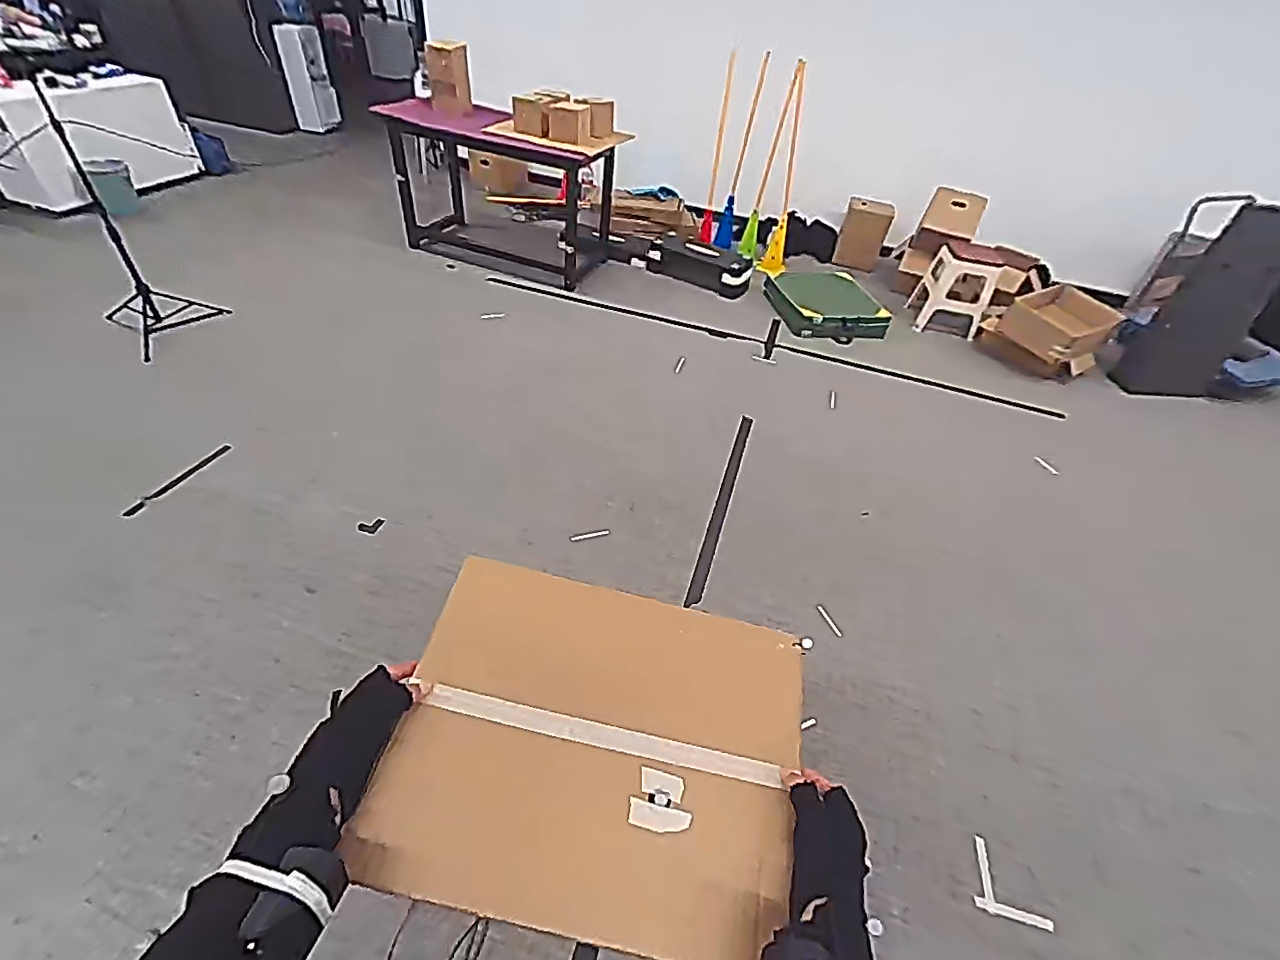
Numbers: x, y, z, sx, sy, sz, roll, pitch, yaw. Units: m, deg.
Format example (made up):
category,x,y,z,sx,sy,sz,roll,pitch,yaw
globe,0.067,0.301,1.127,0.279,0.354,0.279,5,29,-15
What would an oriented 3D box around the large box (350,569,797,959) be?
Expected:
category,x,y,z,sx,sy,sz,roll,pitch,yaw
large box,-0.055,0.354,0.673,0.408,0.320,0.320,14,53,1
